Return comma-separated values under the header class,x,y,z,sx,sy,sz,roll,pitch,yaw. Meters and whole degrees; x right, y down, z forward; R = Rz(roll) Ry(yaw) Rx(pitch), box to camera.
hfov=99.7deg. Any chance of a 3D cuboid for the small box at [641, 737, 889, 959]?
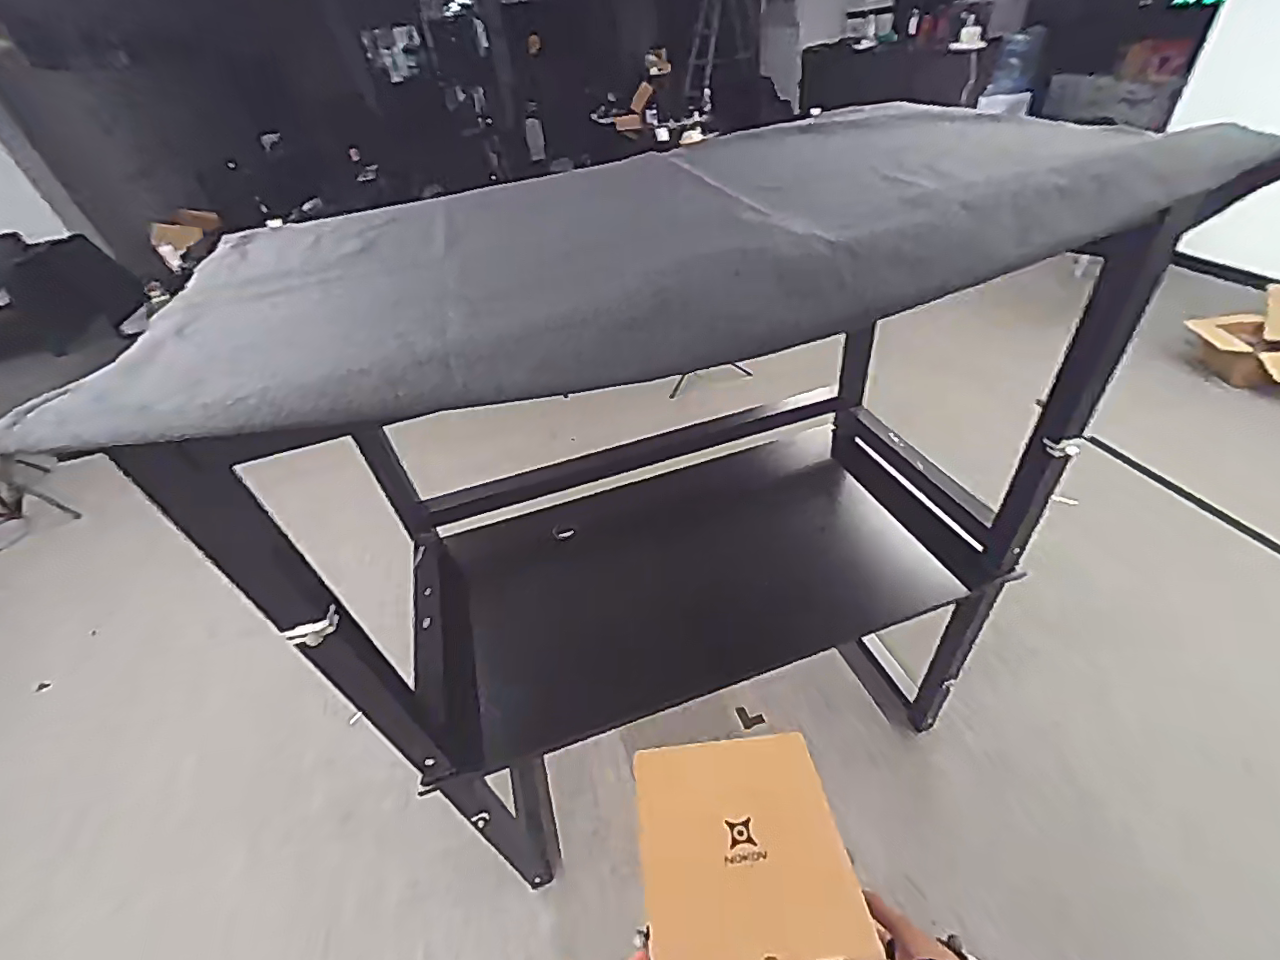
class,x,y,z,sx,sy,sz,roll,pitch,yaw
small box,0.088,0.365,0.484,0.168,0.176,0.179,-4,33,-4
